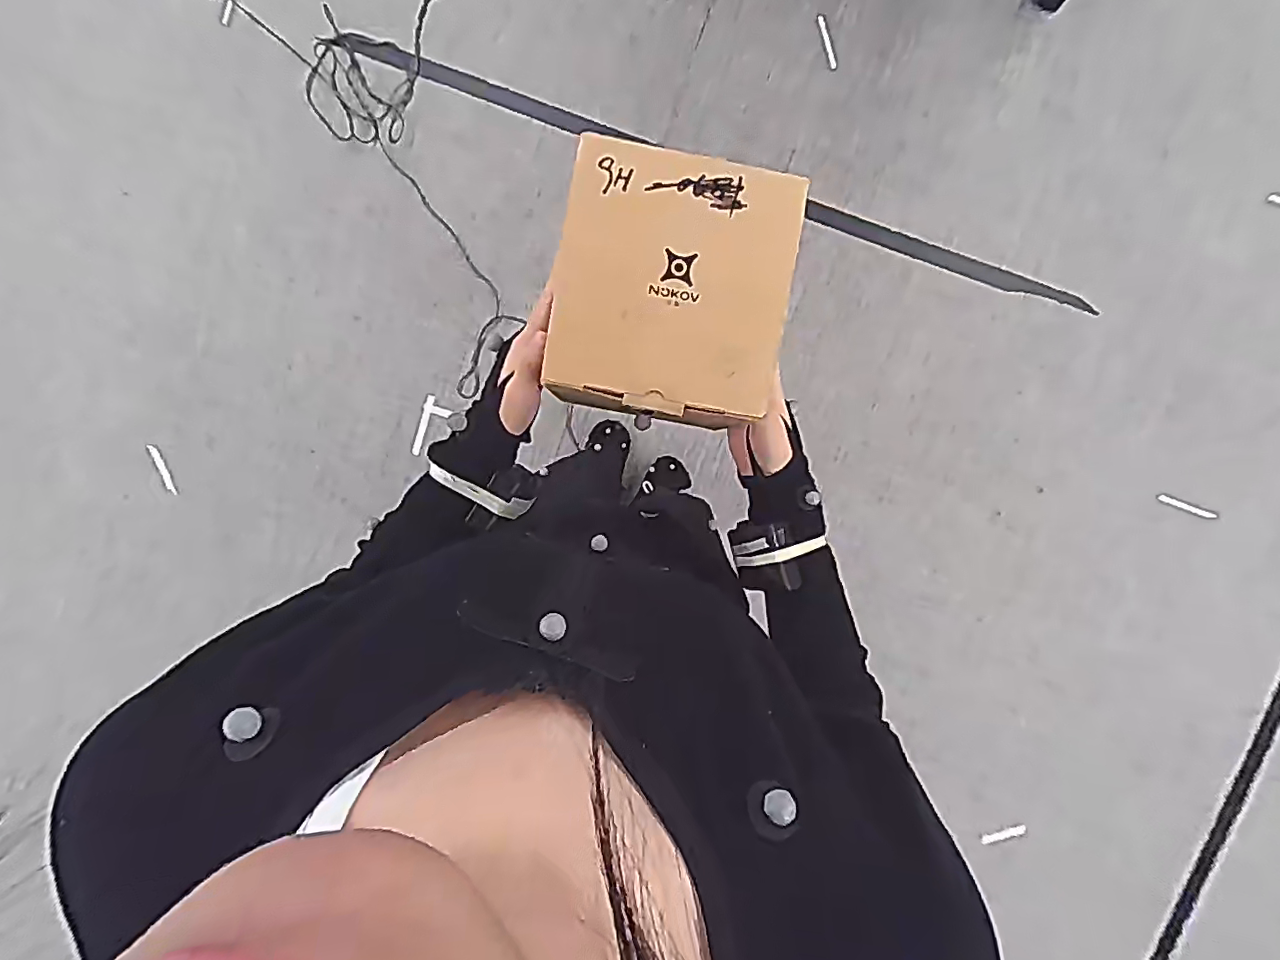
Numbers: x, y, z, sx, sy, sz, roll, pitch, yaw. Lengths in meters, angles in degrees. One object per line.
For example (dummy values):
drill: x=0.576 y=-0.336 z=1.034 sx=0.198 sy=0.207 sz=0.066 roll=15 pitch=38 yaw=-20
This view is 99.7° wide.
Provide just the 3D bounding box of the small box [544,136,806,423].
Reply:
small box: x=0.022 y=-0.148 z=0.467 sx=0.168 sy=0.176 sz=0.179 roll=10 pitch=93 yaw=-4
